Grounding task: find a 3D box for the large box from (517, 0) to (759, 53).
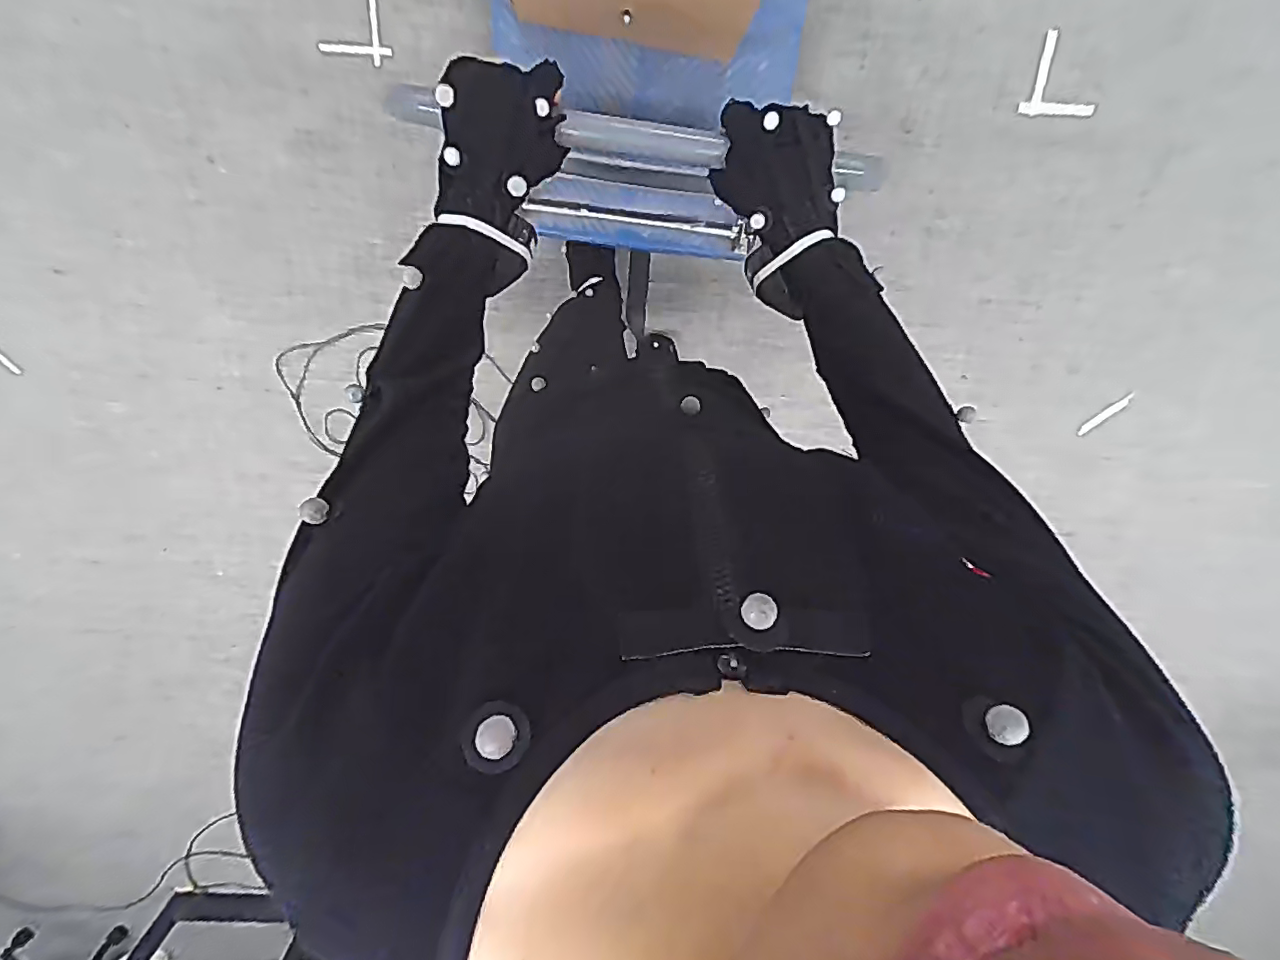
[{"bbox_3d":[0.001,-0.916,0.829,0.408,0.320,0.320,8,111,-4],"label":"large box"}]
